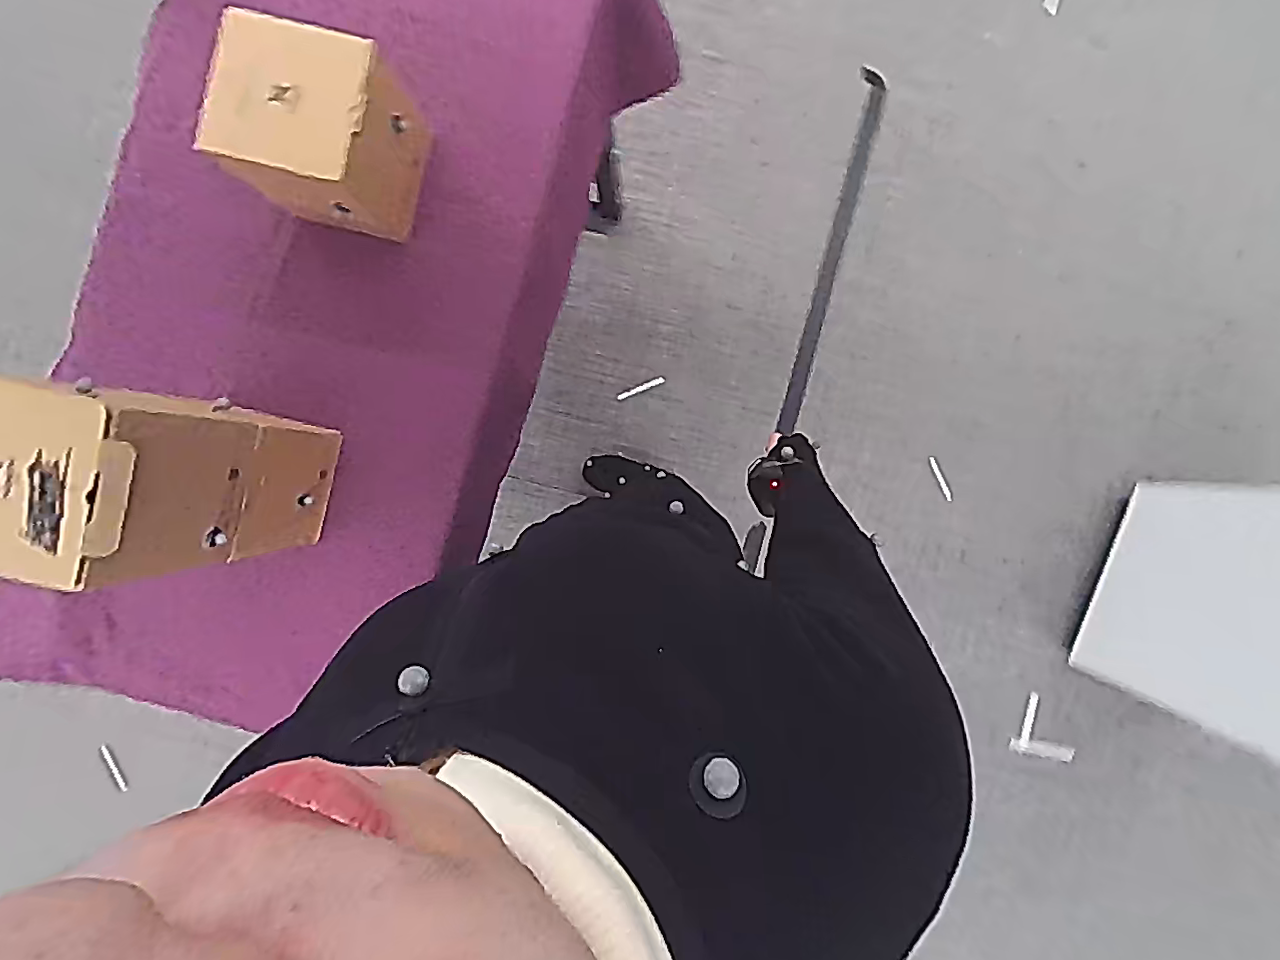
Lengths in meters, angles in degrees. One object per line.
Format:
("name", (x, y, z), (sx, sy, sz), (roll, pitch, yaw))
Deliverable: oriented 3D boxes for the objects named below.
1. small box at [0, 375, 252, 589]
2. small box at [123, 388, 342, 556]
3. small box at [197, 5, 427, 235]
("small box", (-0.538, -0.005, 0.542), (0.179, 0.176, 0.168), (12, 91, 1))
("small box", (-0.533, -0.010, 0.706), (0.179, 0.176, 0.168), (13, 92, 0))
("small box", (-0.399, -0.438, 0.690), (0.179, 0.176, 0.168), (14, 91, 2))
